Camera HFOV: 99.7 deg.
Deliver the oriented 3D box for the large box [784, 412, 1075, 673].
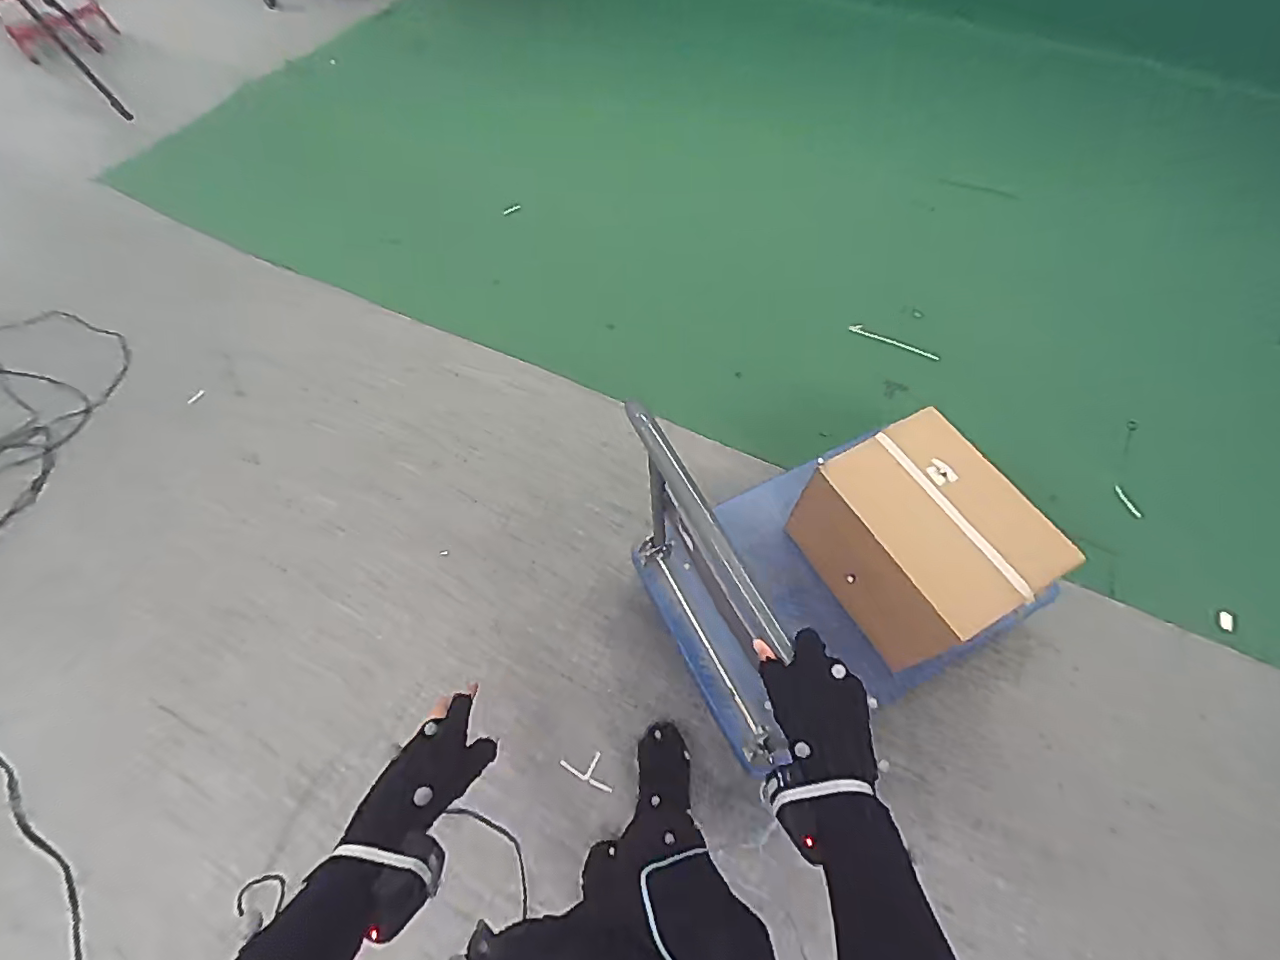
[{"bbox_3d":[0.578,0.139,1.173,0.320,0.320,0.408,-25,62,-13],"label":"large box"}]
